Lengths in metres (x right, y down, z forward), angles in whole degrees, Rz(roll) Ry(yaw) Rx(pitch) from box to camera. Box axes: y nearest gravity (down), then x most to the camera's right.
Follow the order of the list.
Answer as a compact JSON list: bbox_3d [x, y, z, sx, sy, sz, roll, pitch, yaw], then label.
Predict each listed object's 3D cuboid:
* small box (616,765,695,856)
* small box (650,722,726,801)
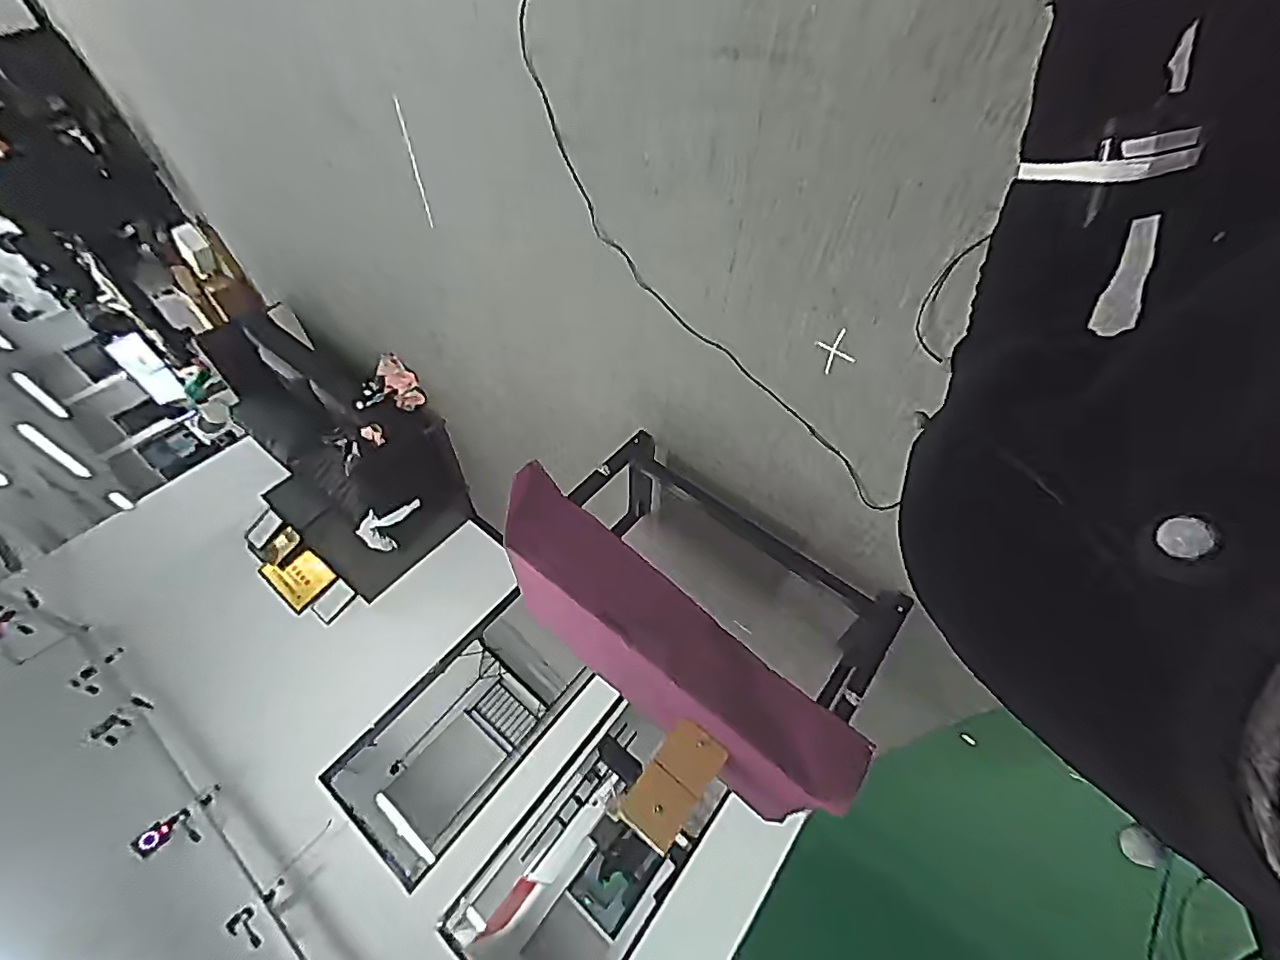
[{"bbox_3d":[0.045,1.003,1.655,0.179,0.176,0.168,32,148,22],"label":"small box"},{"bbox_3d":[0.150,0.904,1.734,0.179,0.176,0.168,33,149,23],"label":"small box"}]
